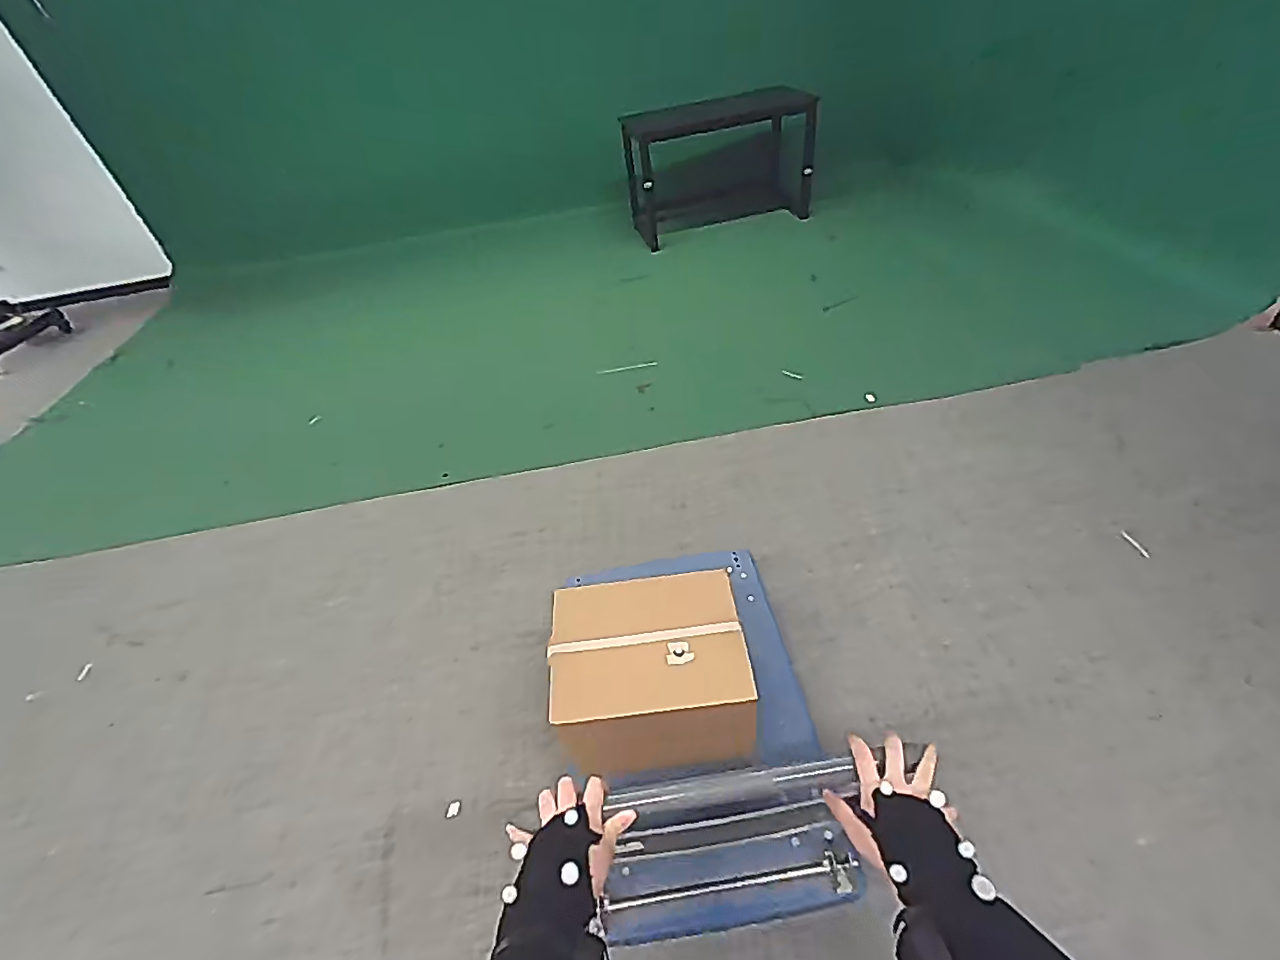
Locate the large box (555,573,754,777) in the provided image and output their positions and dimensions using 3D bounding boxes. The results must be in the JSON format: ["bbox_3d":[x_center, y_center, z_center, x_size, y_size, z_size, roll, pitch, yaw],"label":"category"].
[{"bbox_3d":[0.027,0.455,1.262,0.408,0.320,0.320,-7,43,0],"label":"large box"}]
